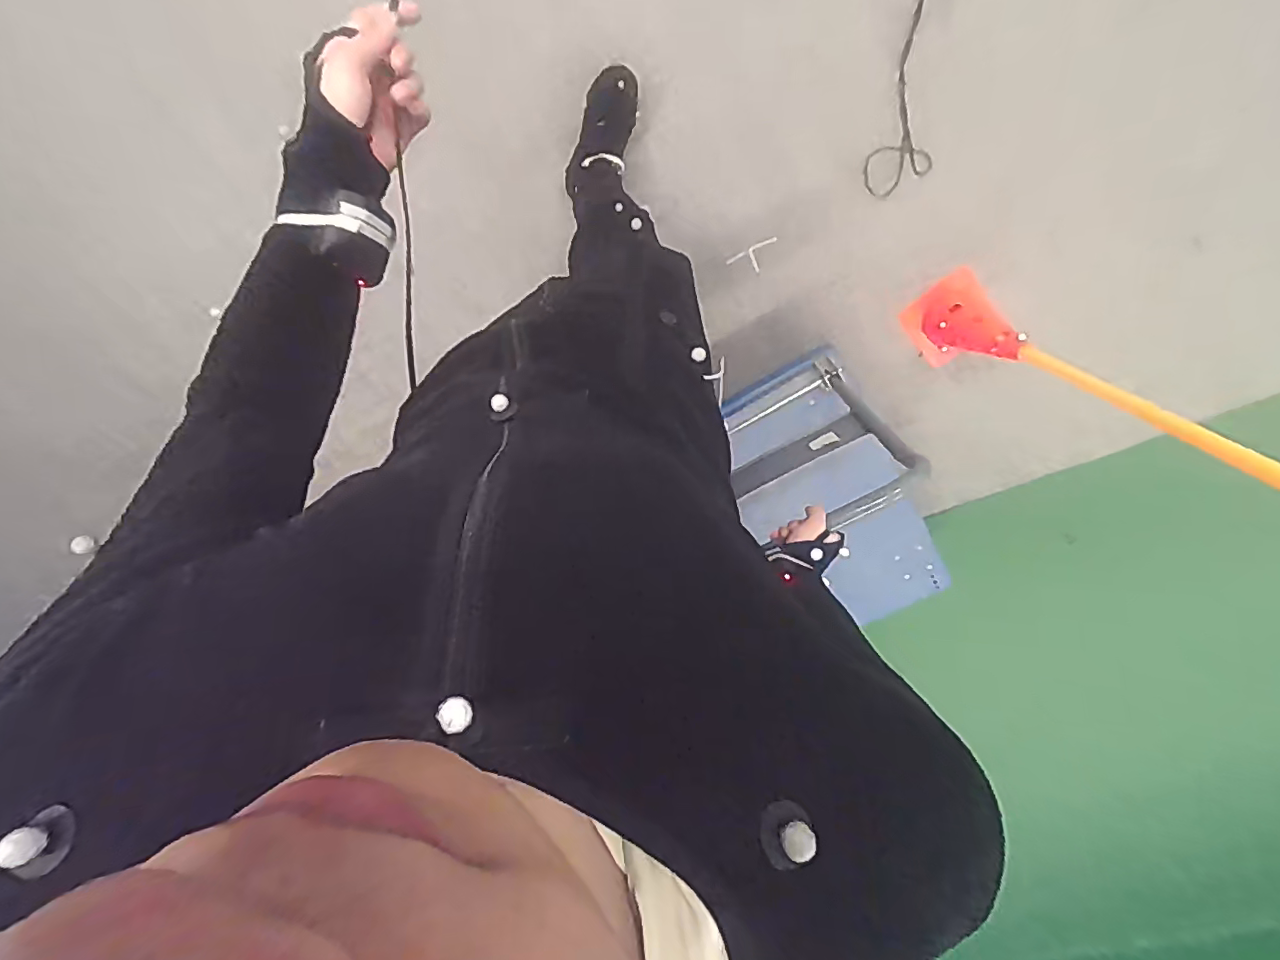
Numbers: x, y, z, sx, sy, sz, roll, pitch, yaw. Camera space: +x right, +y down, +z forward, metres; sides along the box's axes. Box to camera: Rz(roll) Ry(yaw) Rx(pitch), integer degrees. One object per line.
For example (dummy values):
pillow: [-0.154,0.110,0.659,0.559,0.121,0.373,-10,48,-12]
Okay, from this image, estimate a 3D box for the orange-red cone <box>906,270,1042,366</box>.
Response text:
orange-red cone: [0.831,-0.348,1.289,0.199,0.360,0.198,-37,112,18]
